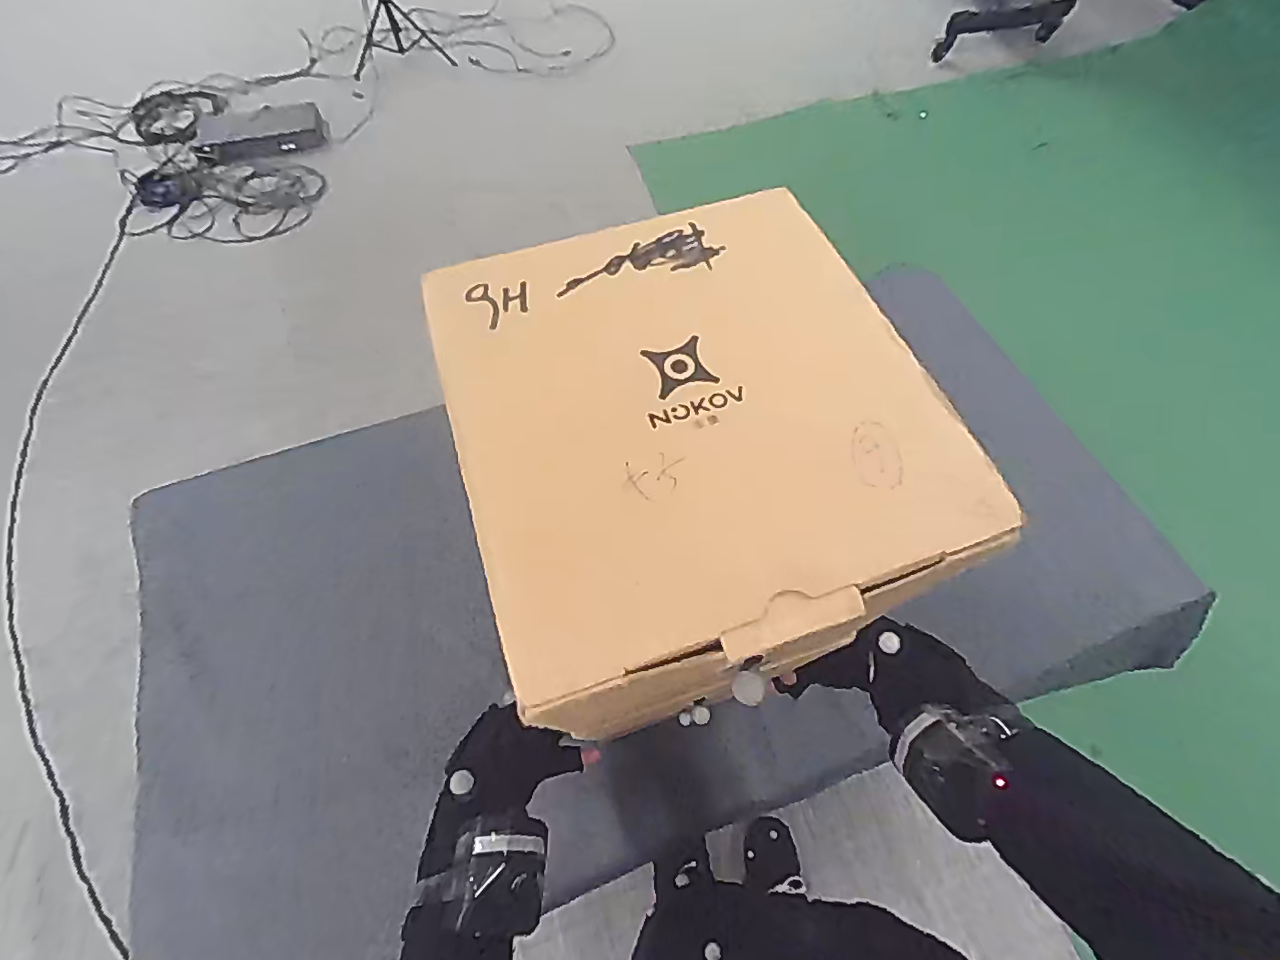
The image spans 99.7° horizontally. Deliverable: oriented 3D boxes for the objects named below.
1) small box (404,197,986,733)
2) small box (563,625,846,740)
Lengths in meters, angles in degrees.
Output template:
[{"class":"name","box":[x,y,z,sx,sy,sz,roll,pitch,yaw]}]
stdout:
[{"class":"small box","box":[0.010,0.006,0.268,0.168,0.176,0.179,-18,66,-8]},{"class":"small box","box":[0.018,0.082,0.412,0.179,0.176,0.168,-18,65,-6]}]
